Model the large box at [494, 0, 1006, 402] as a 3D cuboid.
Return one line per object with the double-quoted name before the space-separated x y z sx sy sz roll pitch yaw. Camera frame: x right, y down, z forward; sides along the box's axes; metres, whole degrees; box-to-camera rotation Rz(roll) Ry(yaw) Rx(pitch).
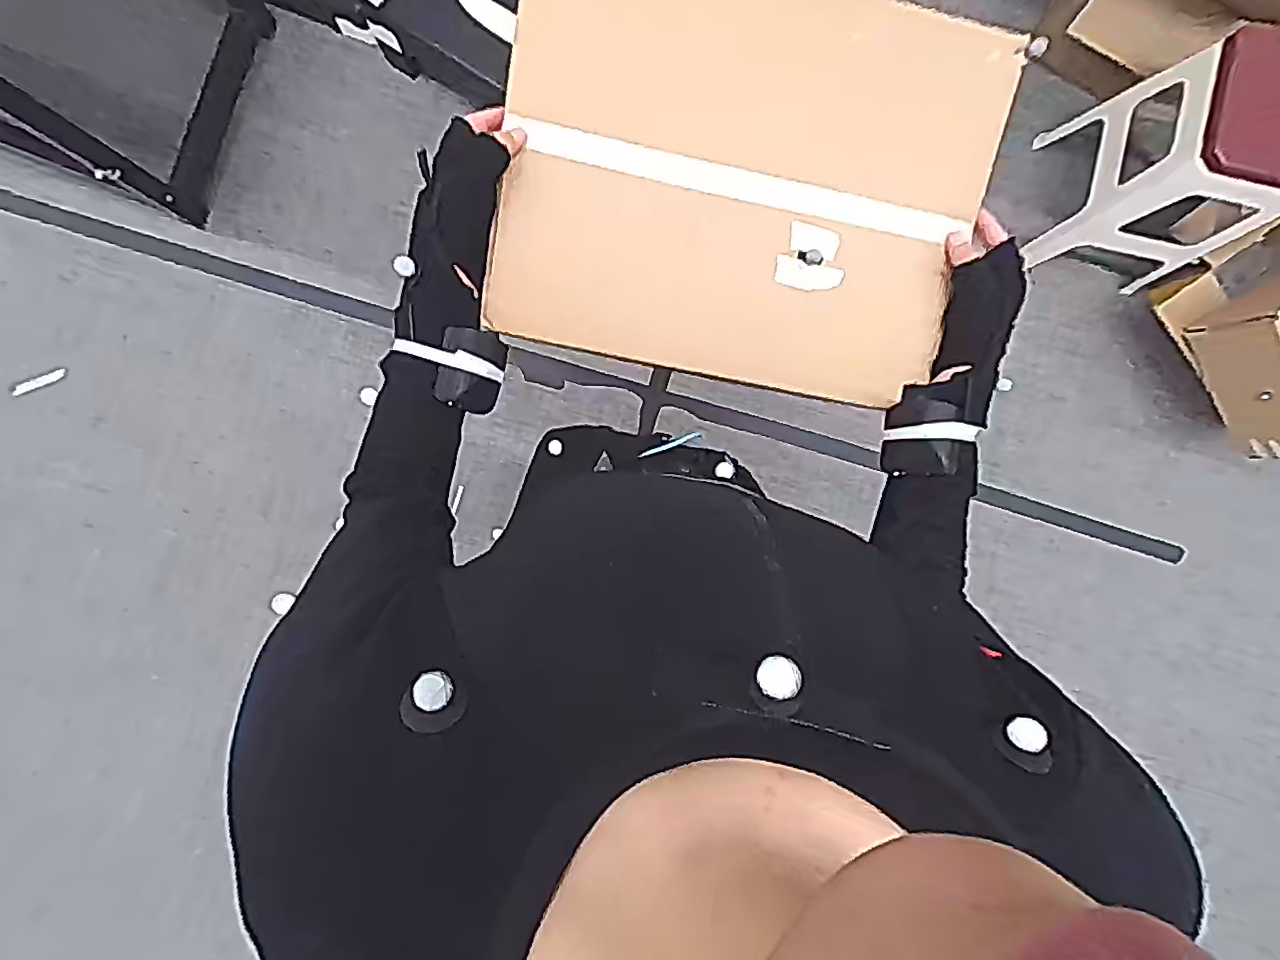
"large box" 0.077 -0.284 0.608 0.408 0.320 0.320 10 103 -7
